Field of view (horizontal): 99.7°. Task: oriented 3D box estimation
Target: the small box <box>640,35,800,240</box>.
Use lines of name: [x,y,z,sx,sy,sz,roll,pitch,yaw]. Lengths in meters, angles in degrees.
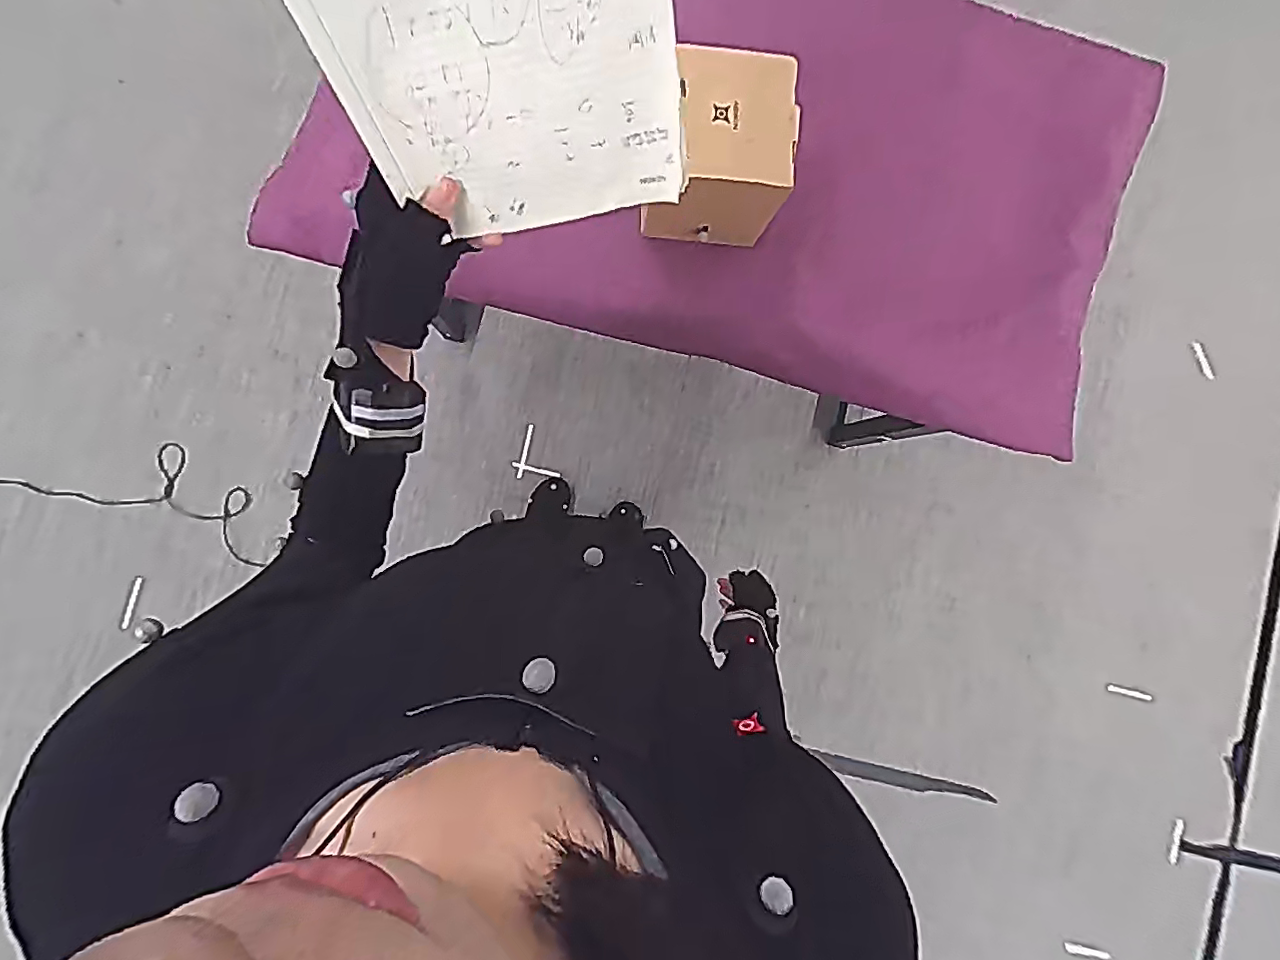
small box: [0.100,-0.449,0.739,0.179,0.176,0.168,3,88,-6]
